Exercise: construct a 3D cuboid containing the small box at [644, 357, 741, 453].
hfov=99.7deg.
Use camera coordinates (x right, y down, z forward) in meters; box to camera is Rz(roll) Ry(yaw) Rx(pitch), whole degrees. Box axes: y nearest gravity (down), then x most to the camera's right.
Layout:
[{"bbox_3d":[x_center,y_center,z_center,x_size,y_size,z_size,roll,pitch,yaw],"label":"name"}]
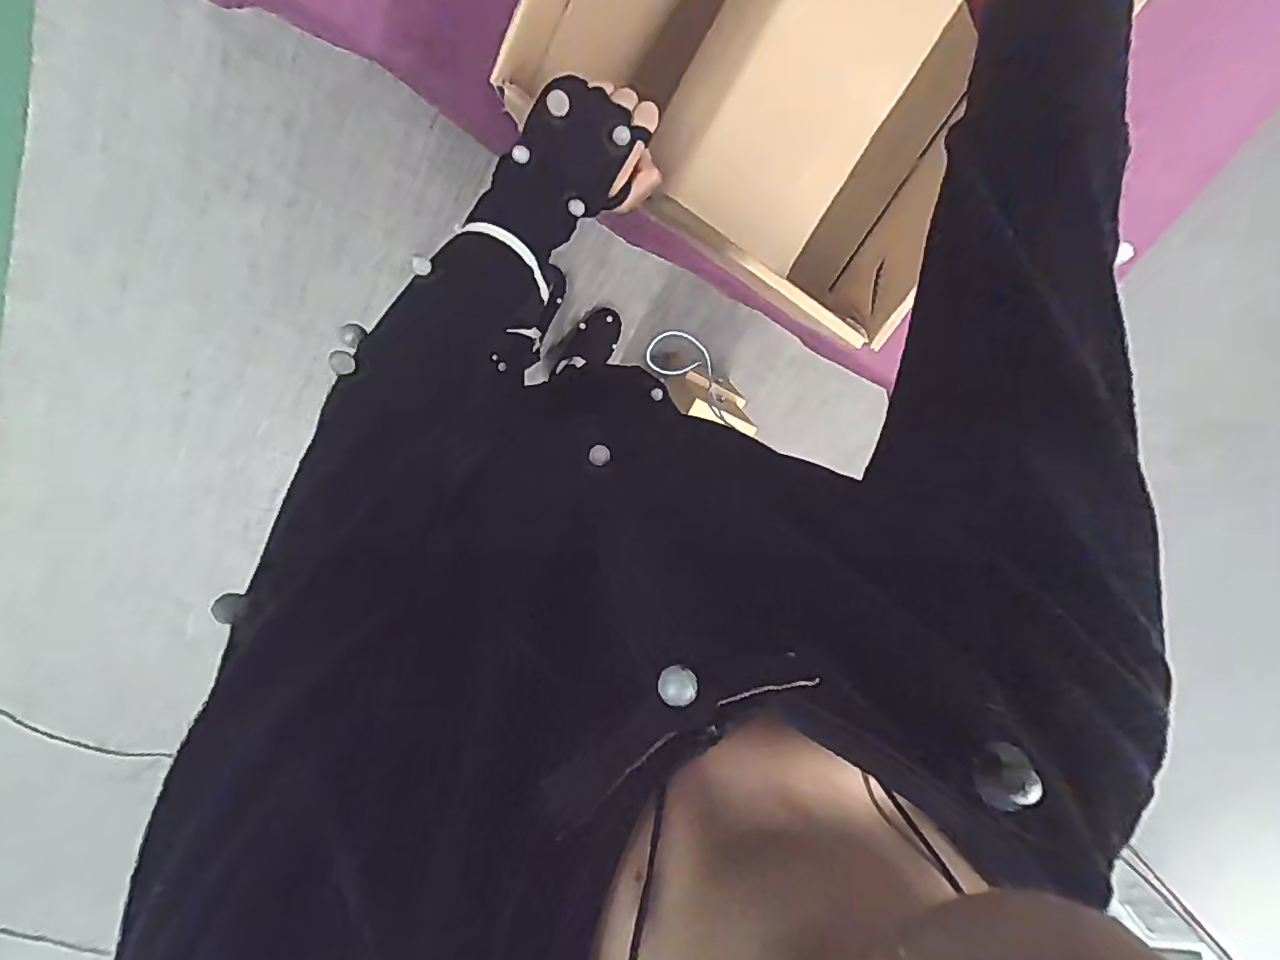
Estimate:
[{"bbox_3d":[0.130,-0.203,1.419,0.179,0.176,0.168,24,112,-19],"label":"small box"}]
